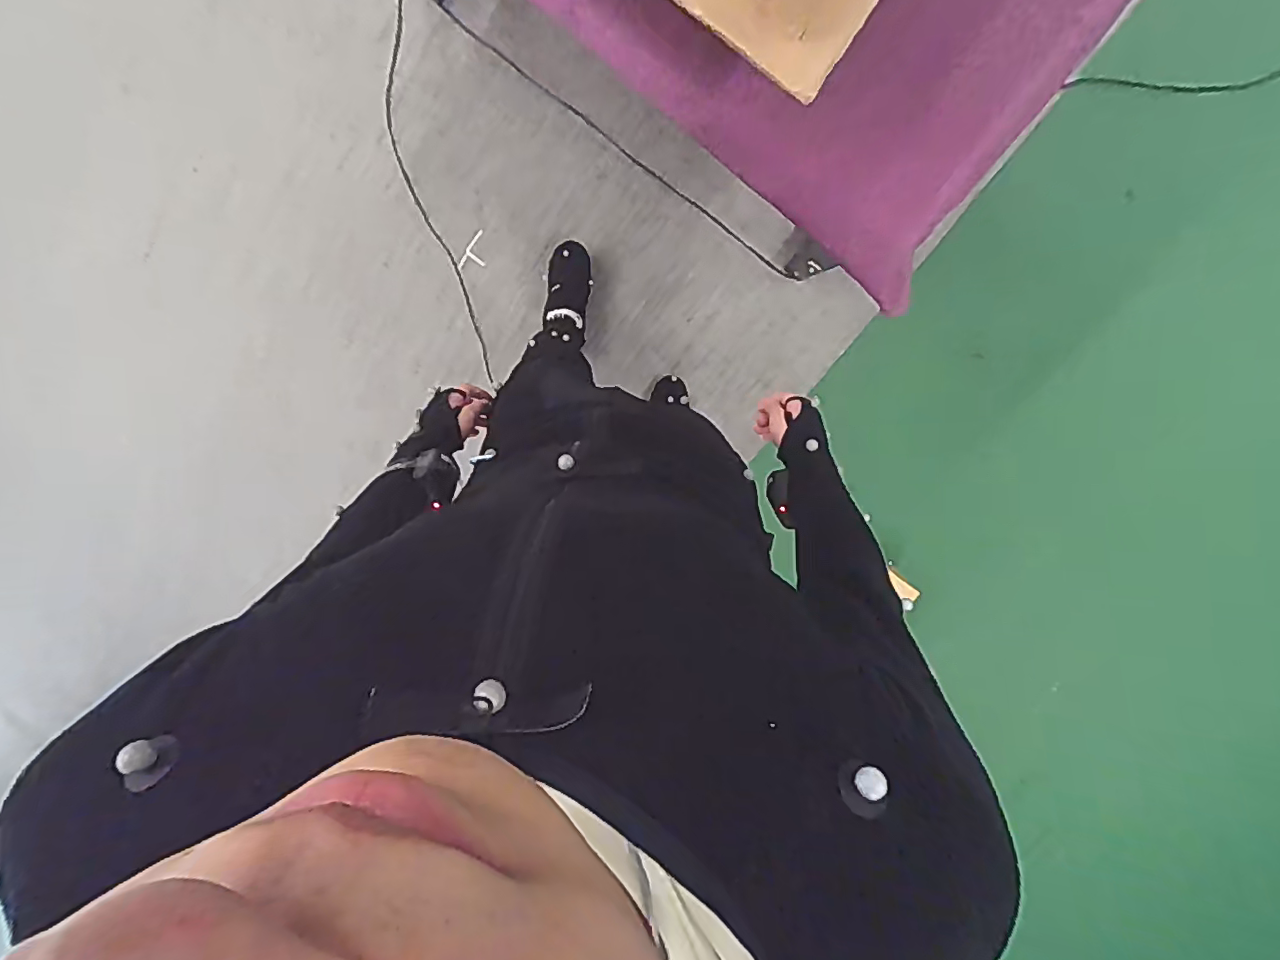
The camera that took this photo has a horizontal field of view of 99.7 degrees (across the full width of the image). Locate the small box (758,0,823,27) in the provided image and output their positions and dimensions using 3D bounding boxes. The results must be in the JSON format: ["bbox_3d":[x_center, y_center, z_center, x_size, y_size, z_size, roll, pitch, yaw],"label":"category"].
[{"bbox_3d":[0.146,-0.548,0.450,0.168,0.176,0.179,32,107,-9],"label":"small box"}]
